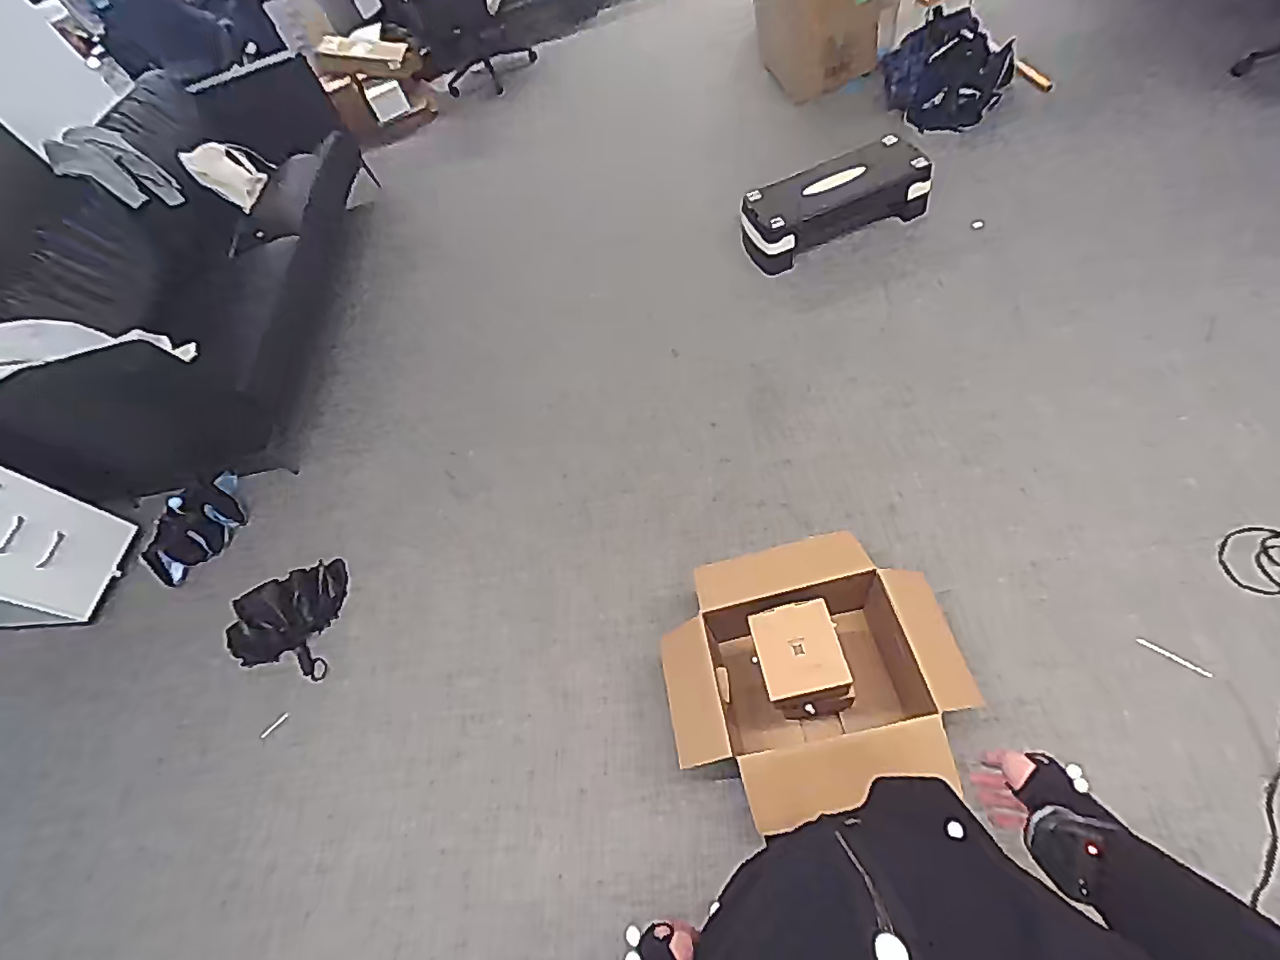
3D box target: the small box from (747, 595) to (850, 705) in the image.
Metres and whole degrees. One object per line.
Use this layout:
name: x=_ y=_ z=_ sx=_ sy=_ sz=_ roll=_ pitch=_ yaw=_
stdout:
small box: x=0.337 y=0.373 z=1.170 sx=0.168 sy=0.176 sz=0.179 roll=-16 pitch=59 yaw=9
